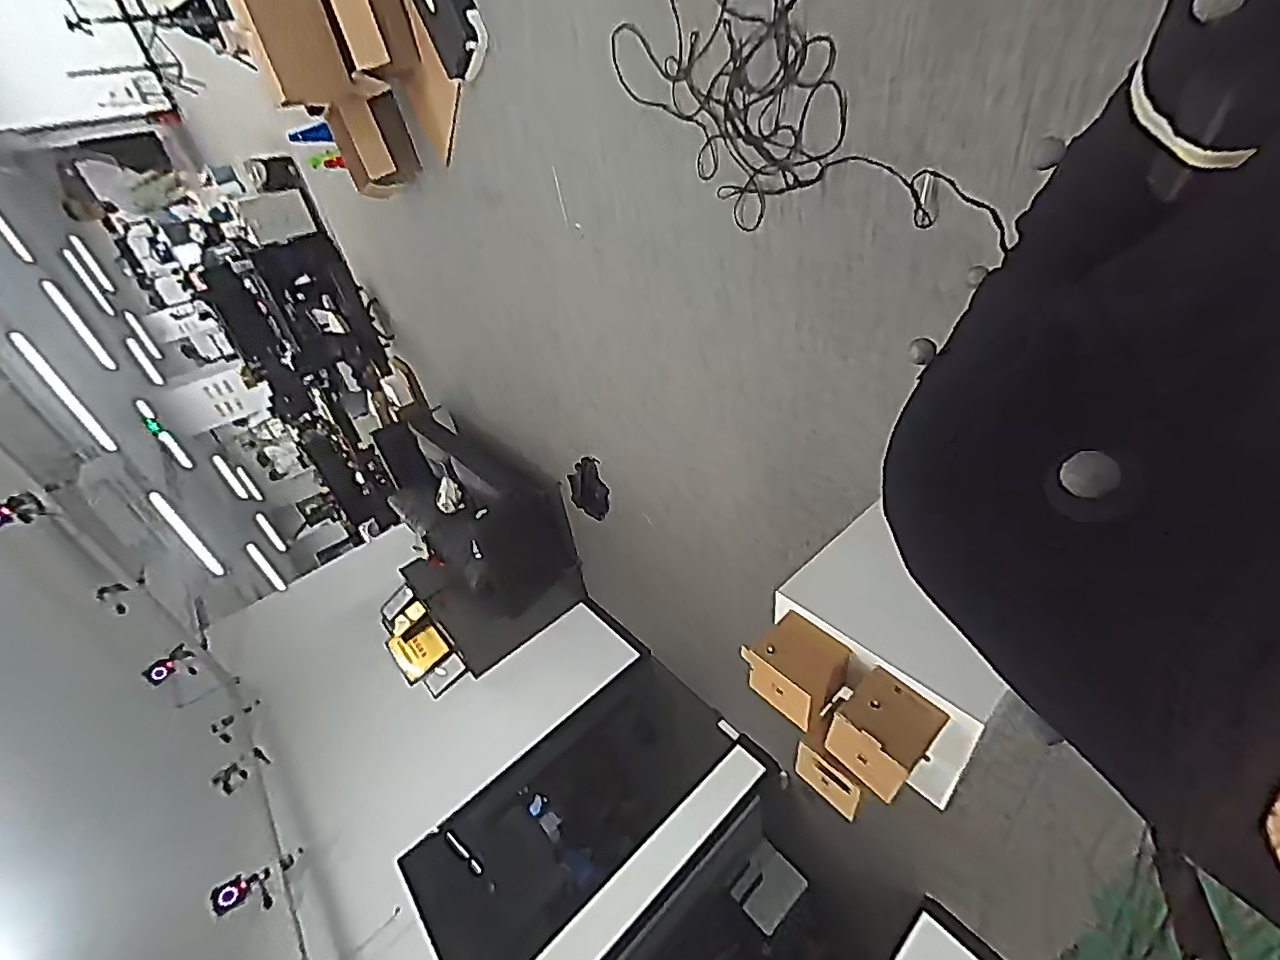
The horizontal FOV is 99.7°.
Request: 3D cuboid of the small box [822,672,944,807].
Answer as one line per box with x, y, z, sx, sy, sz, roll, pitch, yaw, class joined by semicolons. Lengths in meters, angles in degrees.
0.529;0.558;1.181;0.168;0.176;0.179;36;146;38;small box
